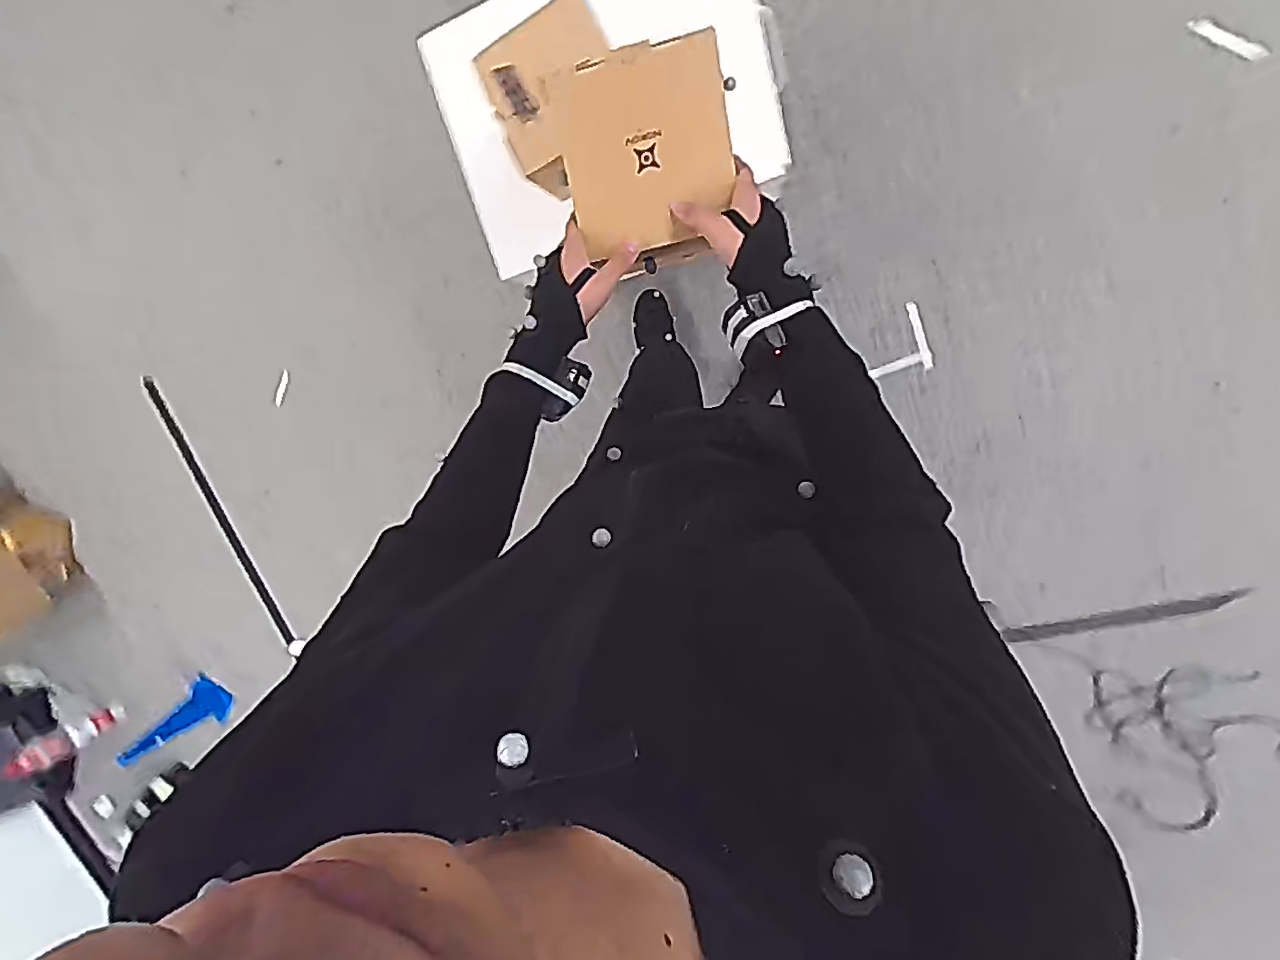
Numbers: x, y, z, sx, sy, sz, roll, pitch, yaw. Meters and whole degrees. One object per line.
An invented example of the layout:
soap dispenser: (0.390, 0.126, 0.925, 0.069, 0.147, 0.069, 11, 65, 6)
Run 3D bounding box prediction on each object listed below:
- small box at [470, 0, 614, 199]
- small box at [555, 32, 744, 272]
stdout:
small box: (-0.110, -0.549, 0.805, 0.179, 0.176, 0.168, -22, 101, 16)
small box: (0.022, -0.341, 0.607, 0.168, 0.176, 0.179, -9, 103, 9)
